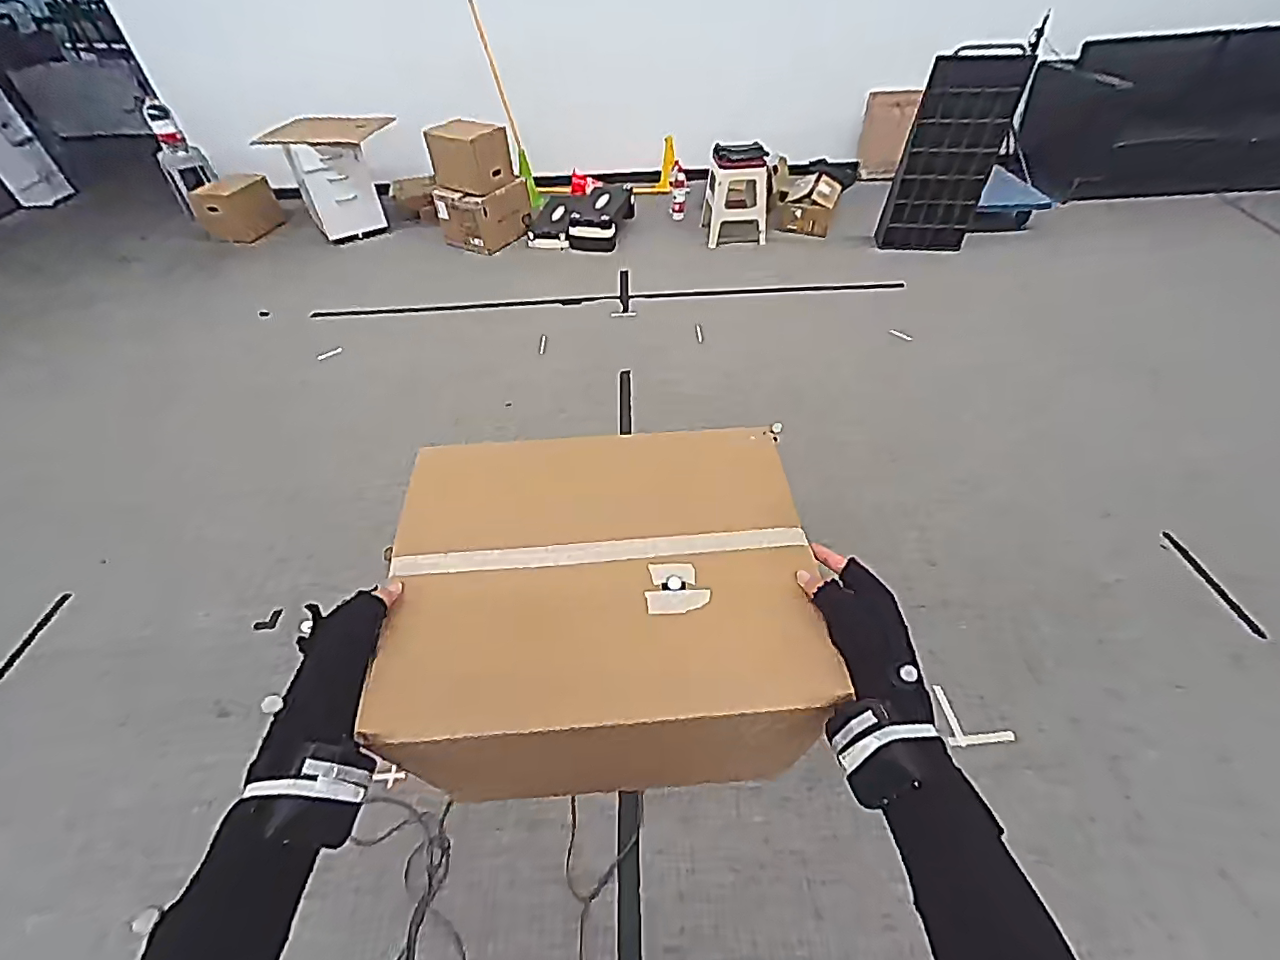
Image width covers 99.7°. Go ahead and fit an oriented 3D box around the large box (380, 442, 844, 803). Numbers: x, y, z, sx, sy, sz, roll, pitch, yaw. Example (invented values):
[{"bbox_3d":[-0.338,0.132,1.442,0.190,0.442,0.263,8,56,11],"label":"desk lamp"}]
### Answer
[{"bbox_3d":[-0.033,0.178,0.661,0.408,0.320,0.320,-3,52,-3],"label":"large box"}]
